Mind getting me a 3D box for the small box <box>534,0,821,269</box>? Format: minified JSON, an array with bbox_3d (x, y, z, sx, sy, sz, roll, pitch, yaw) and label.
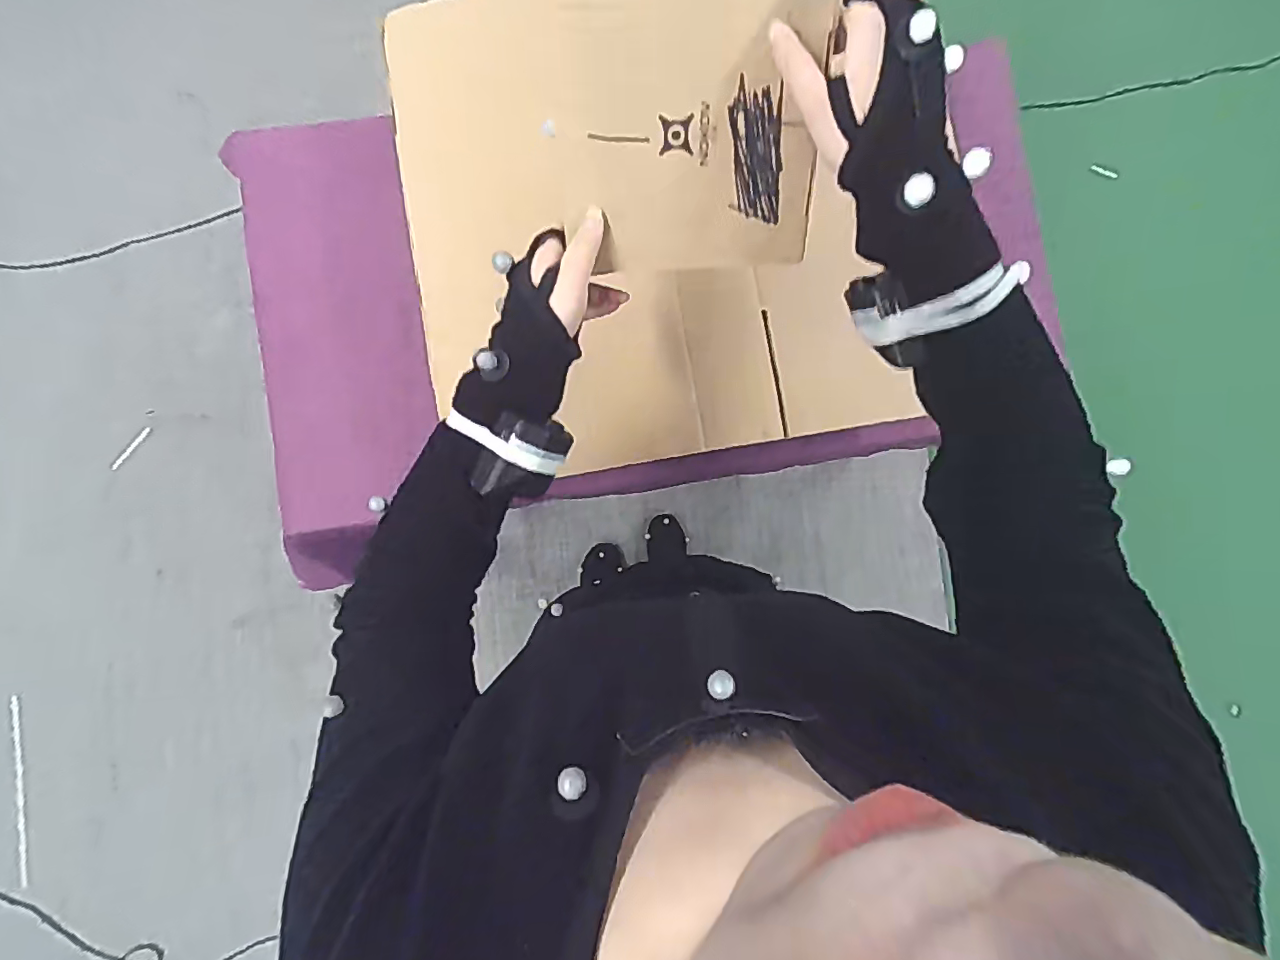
[{"bbox_3d":[0.022,-0.274,0.428,0.179,0.176,0.168,-3,123,0],"label":"small box"}]
